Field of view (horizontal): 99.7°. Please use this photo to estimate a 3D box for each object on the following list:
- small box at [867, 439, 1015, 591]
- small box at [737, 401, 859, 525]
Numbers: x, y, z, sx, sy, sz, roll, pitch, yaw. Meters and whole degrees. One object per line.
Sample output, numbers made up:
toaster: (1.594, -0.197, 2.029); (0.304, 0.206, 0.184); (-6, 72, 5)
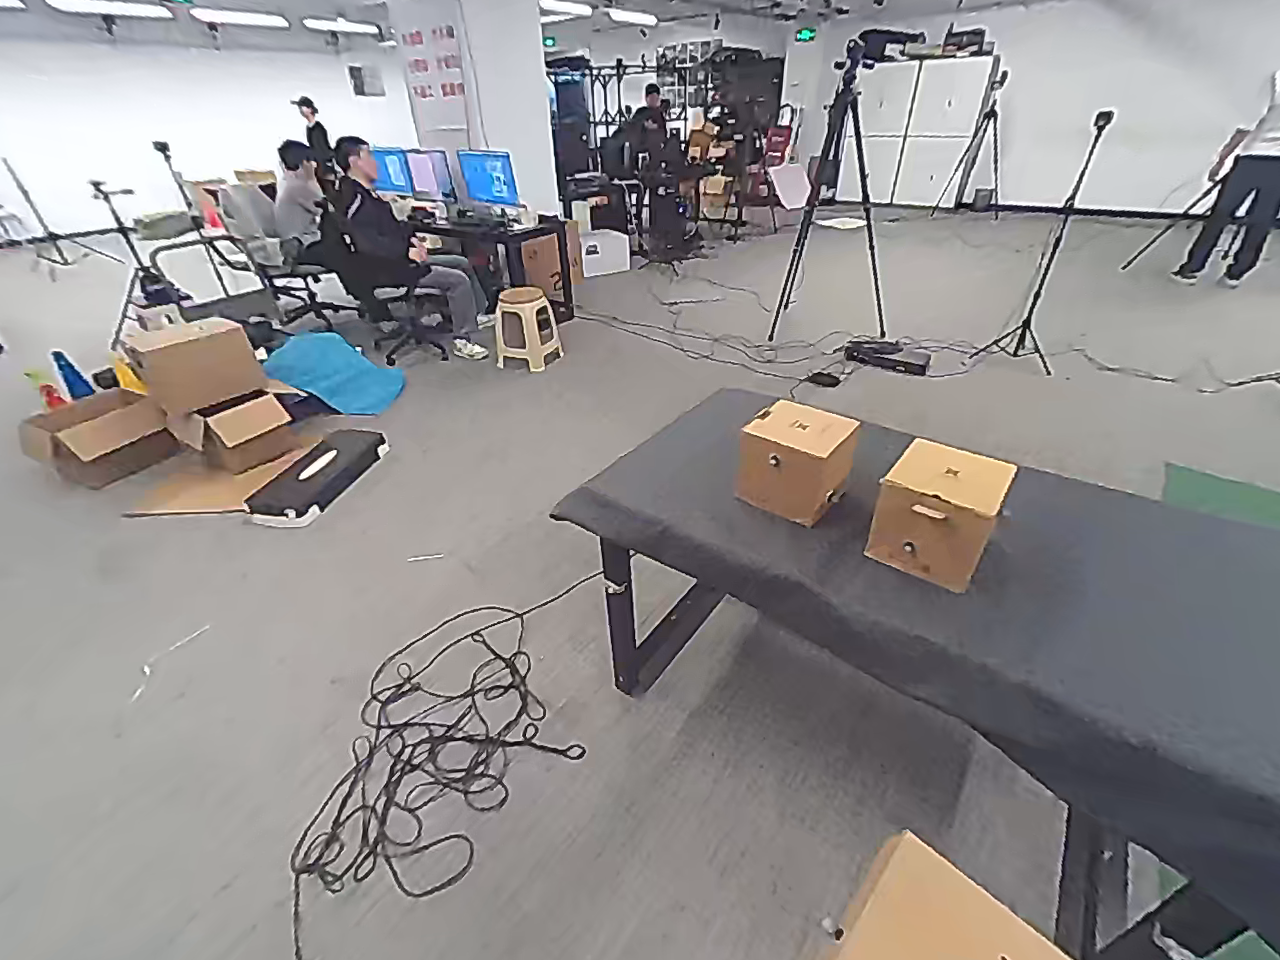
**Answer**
small box: (0.518, 0.057, 0.944); (0.168, 0.176, 0.179); (24, 42, 32)
small box: (0.311, -0.035, 1.091); (0.179, 0.176, 0.168); (25, 44, 32)
